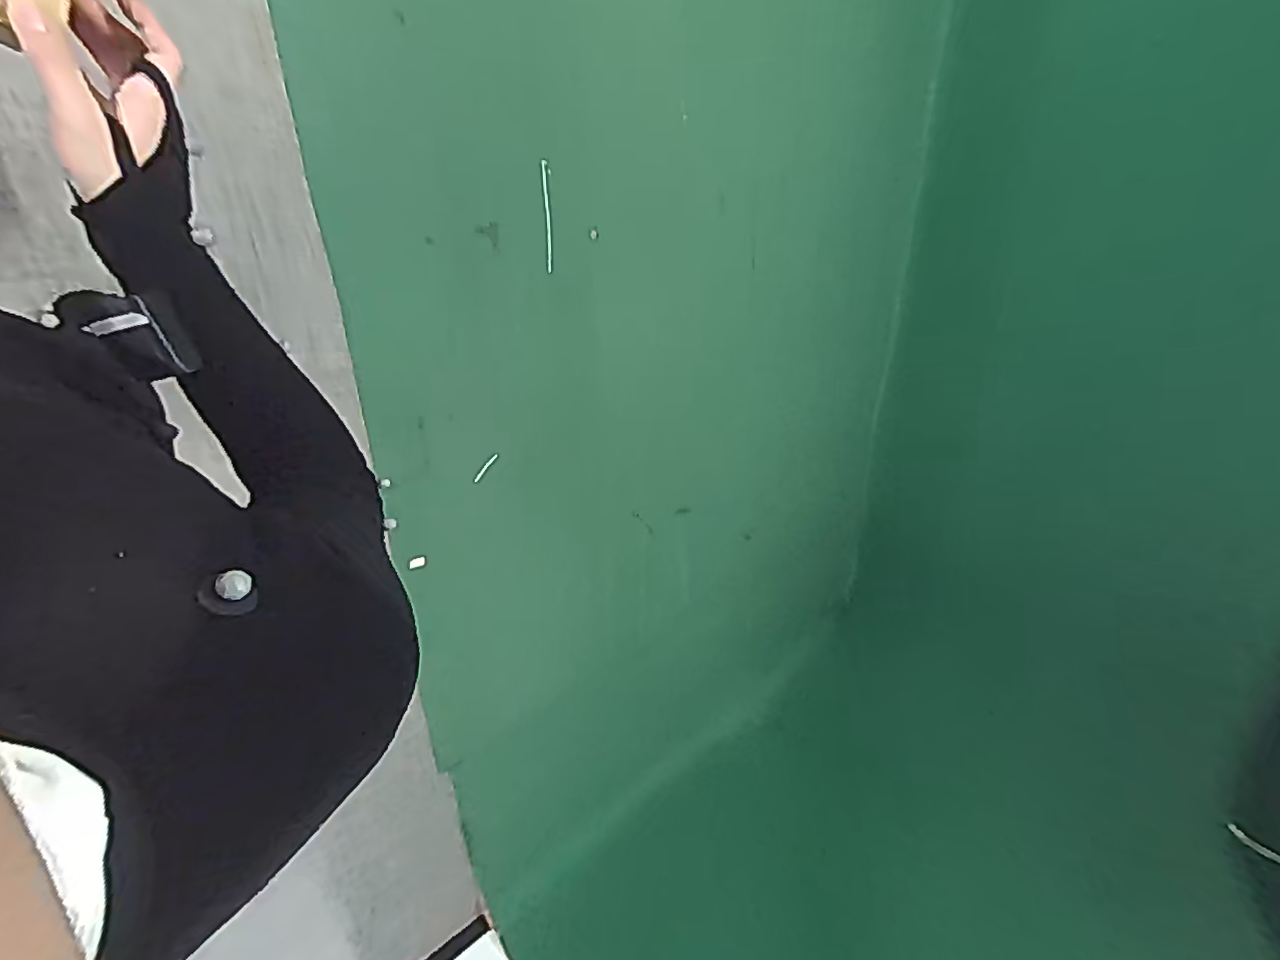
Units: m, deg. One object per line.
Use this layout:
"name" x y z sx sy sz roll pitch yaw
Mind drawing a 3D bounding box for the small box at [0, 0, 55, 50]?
"small box" -0.456 -0.379 0.299 0.179 0.176 0.168 2 110 -51
